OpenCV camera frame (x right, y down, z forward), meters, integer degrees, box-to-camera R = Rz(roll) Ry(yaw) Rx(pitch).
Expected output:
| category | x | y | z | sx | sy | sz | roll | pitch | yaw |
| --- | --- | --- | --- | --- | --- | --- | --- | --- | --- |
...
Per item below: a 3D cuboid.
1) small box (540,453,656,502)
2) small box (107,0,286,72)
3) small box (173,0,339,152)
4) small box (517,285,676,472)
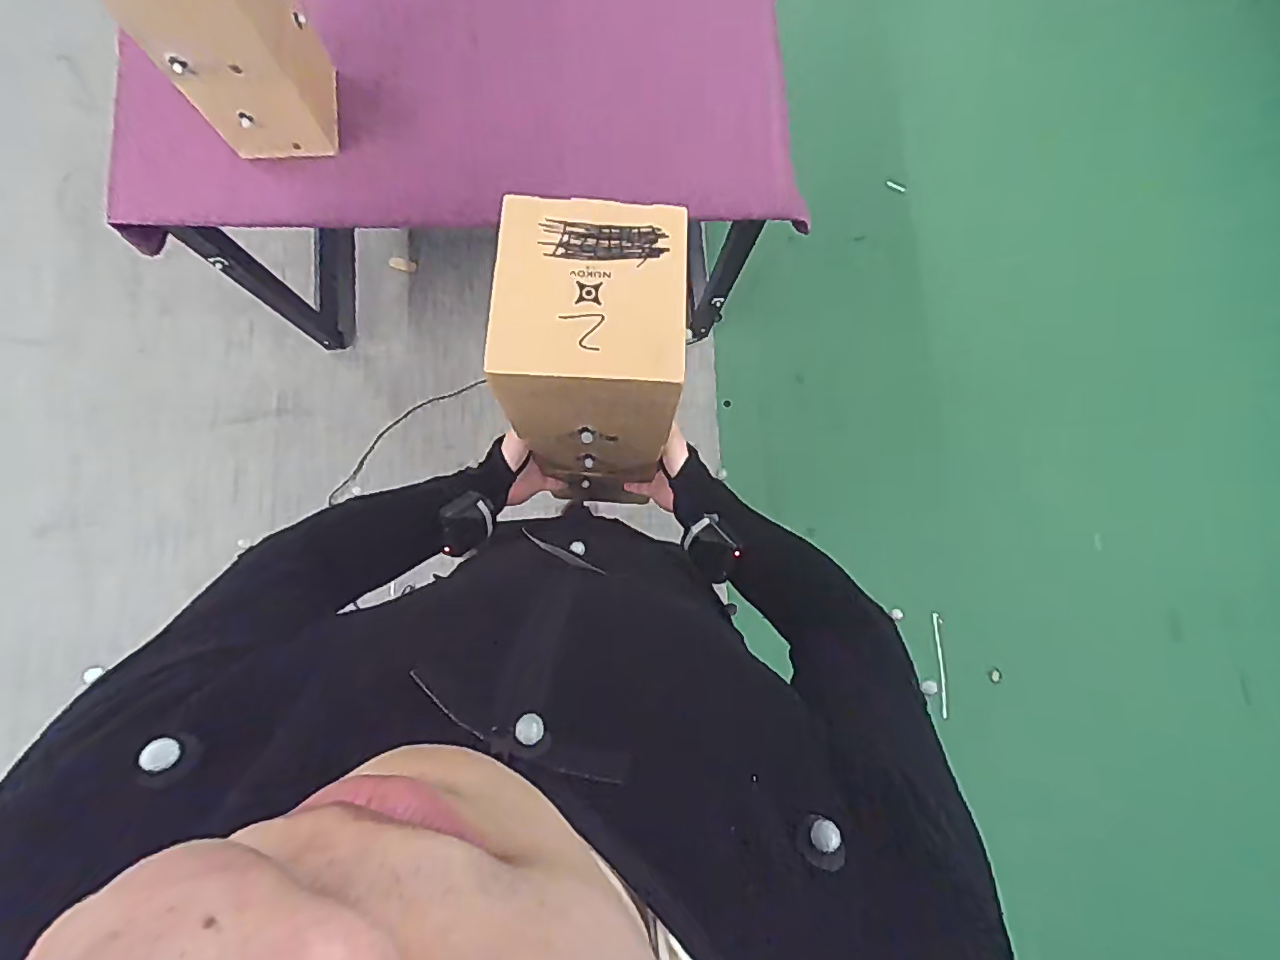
| category | x | y | z | sx | sy | sz | roll | pitch | yaw |
| --- | --- | --- | --- | --- | --- | --- | --- | --- | --- |
| small box | -0.055 | -0.075 | 0.853 | 0.168 | 0.176 | 0.179 | 4 | 75 | 0 |
| small box | -0.605 | -0.690 | 0.726 | 0.168 | 0.176 | 0.179 | -5 | 82 | -5 |
| small box | -0.618 | -0.670 | 0.889 | 0.168 | 0.176 | 0.179 | -6 | 83 | -5 |
| small box | -0.049 | -0.118 | 0.692 | 0.168 | 0.176 | 0.179 | 6 | 74 | -1 |
